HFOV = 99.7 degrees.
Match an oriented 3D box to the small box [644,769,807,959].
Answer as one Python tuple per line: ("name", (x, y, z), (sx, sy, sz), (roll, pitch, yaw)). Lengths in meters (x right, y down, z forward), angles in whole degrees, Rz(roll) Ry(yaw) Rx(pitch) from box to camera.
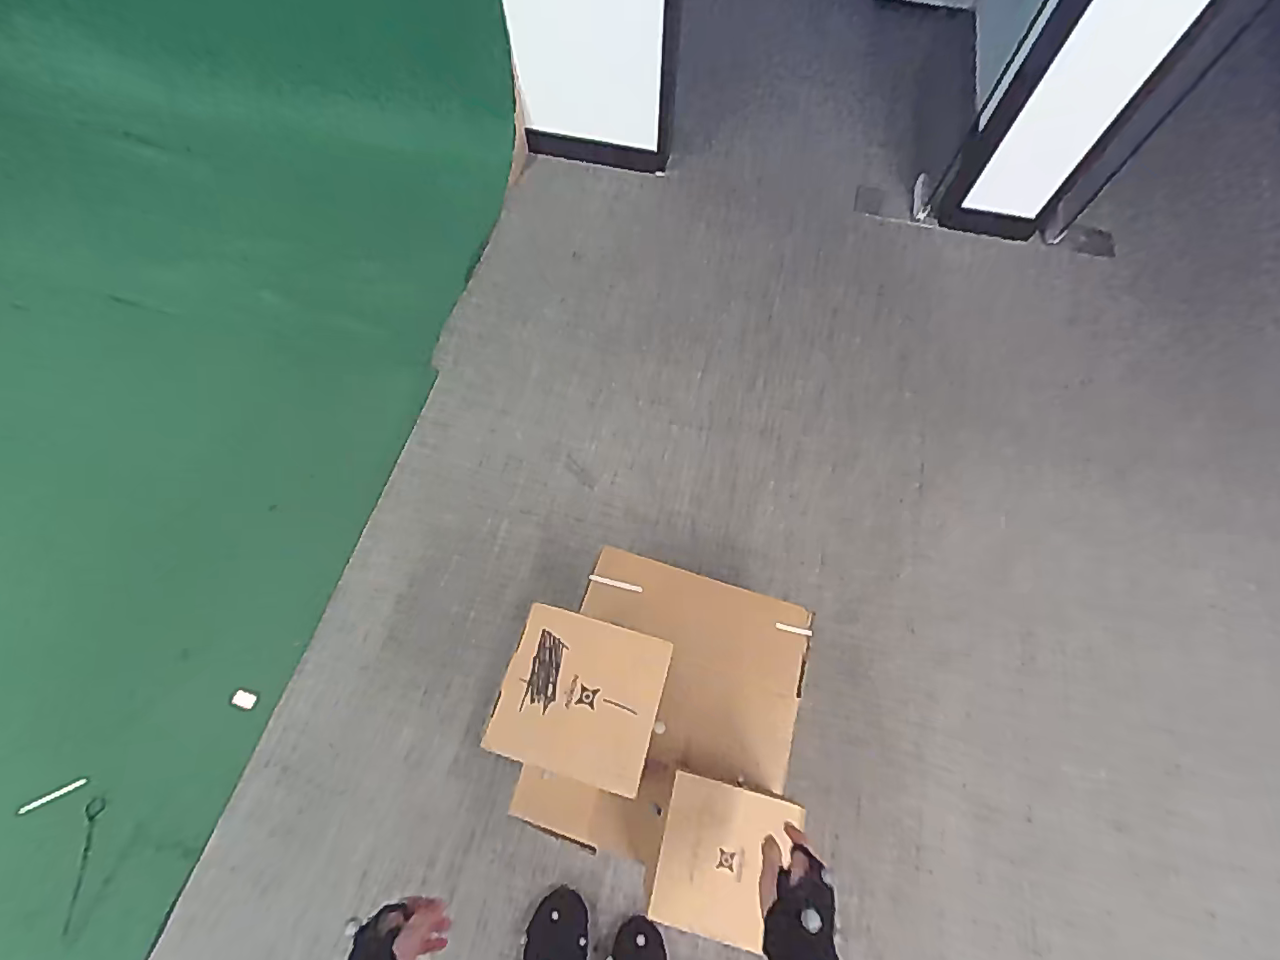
("small box", (0.110, 0.510, 0.745), (0.179, 0.176, 0.168), (14, 65, 5))

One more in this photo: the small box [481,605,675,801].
("small box", (-0.066, 0.274, 0.668), (0.179, 0.176, 0.168), (15, 65, 6))
